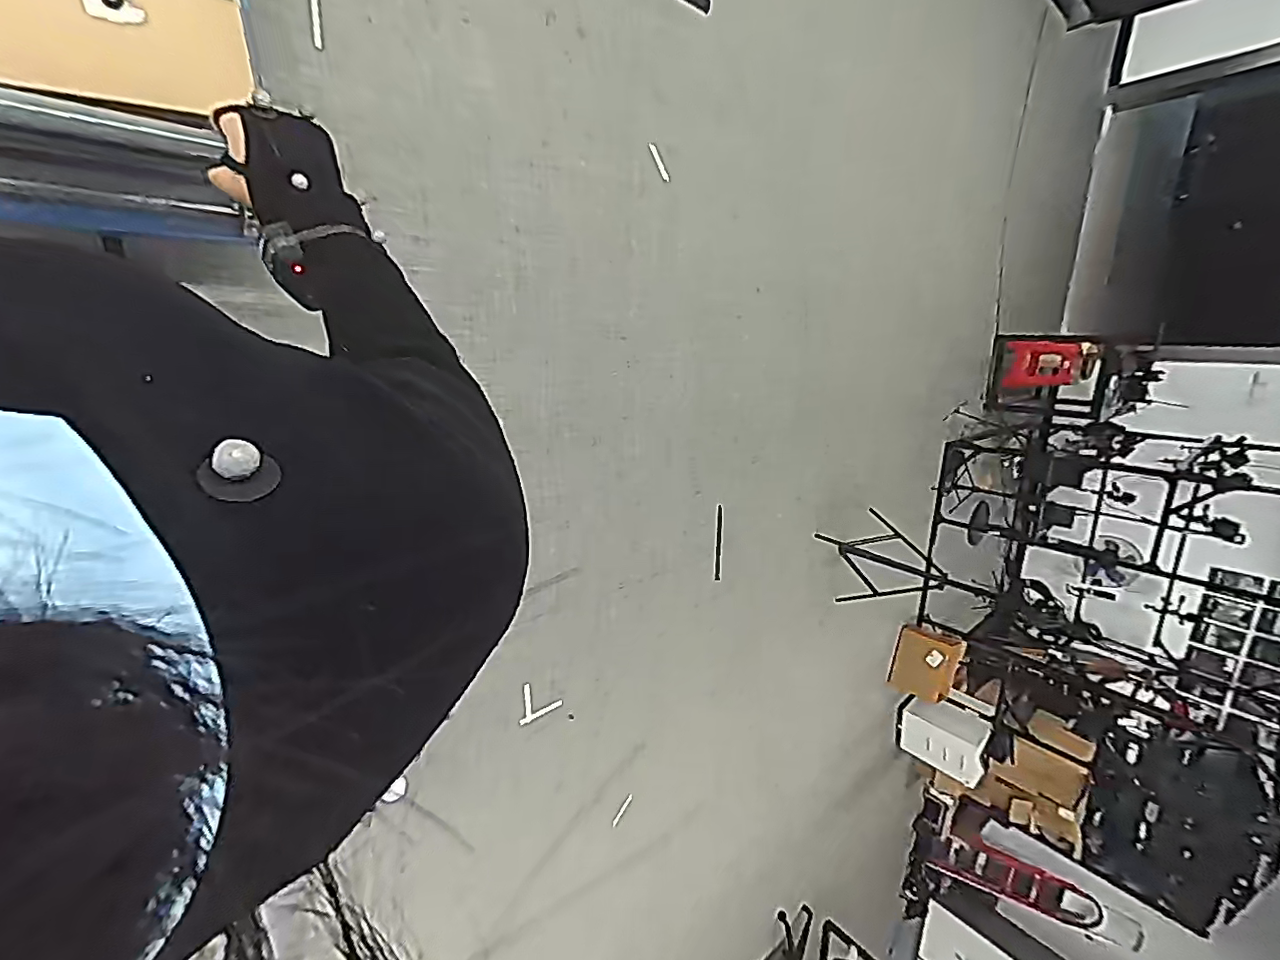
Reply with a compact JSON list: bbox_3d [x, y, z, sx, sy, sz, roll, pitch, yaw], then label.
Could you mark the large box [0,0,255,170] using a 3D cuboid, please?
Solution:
[{"bbox_3d":[-0.816,-0.644,0.728,0.408,0.320,0.320,-17,113,-40],"label":"large box"}]
